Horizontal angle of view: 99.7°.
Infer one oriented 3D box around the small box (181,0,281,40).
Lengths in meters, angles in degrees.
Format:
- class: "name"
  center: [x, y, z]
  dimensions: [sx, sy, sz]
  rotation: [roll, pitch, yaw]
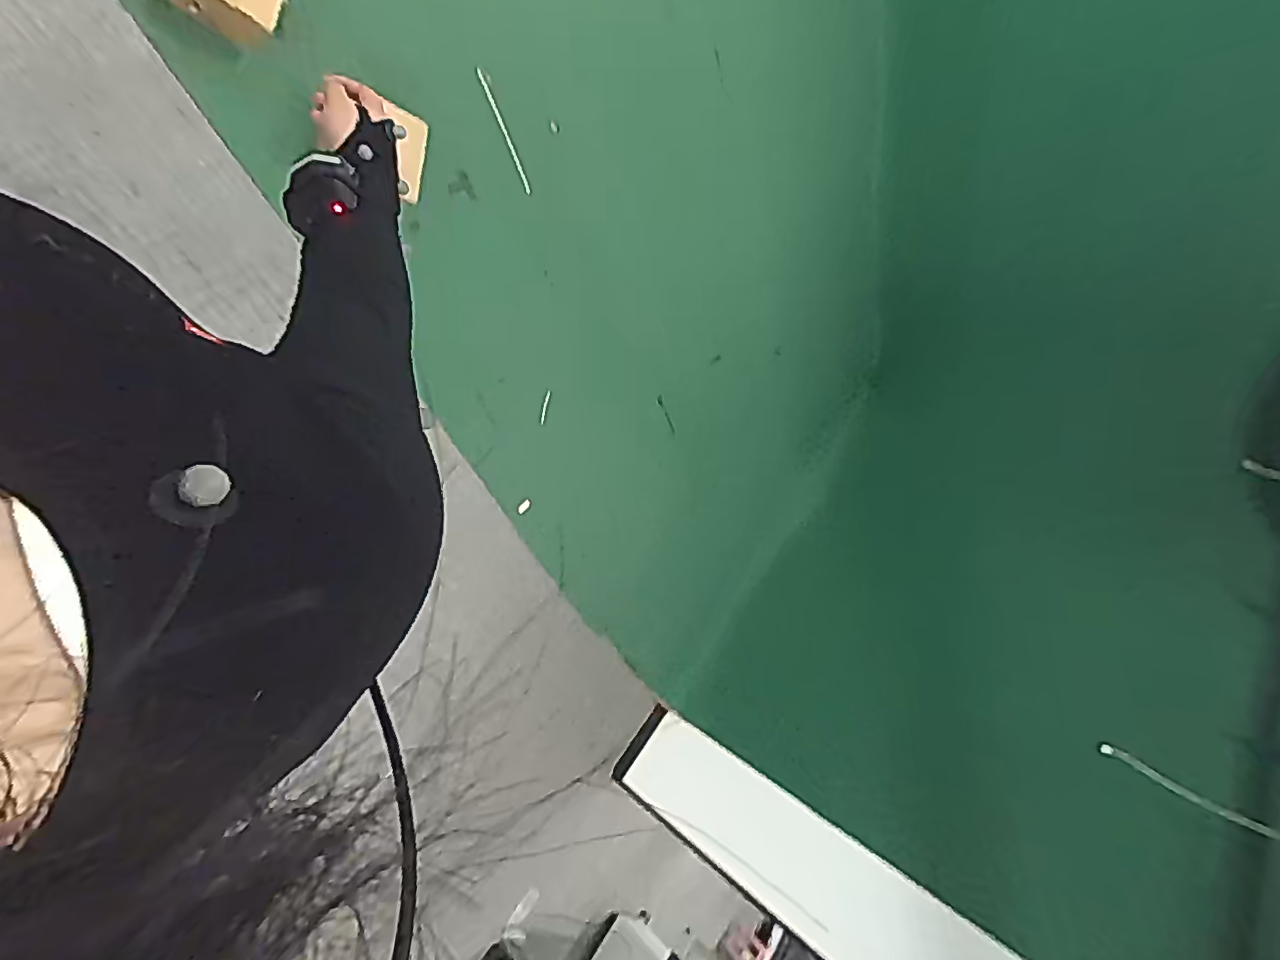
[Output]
- class: "small box"
  center: [-0.750, -0.941, 0.963]
  dimensions: [0.168, 0.176, 0.179]
  rotation: [13, 98, -53]
